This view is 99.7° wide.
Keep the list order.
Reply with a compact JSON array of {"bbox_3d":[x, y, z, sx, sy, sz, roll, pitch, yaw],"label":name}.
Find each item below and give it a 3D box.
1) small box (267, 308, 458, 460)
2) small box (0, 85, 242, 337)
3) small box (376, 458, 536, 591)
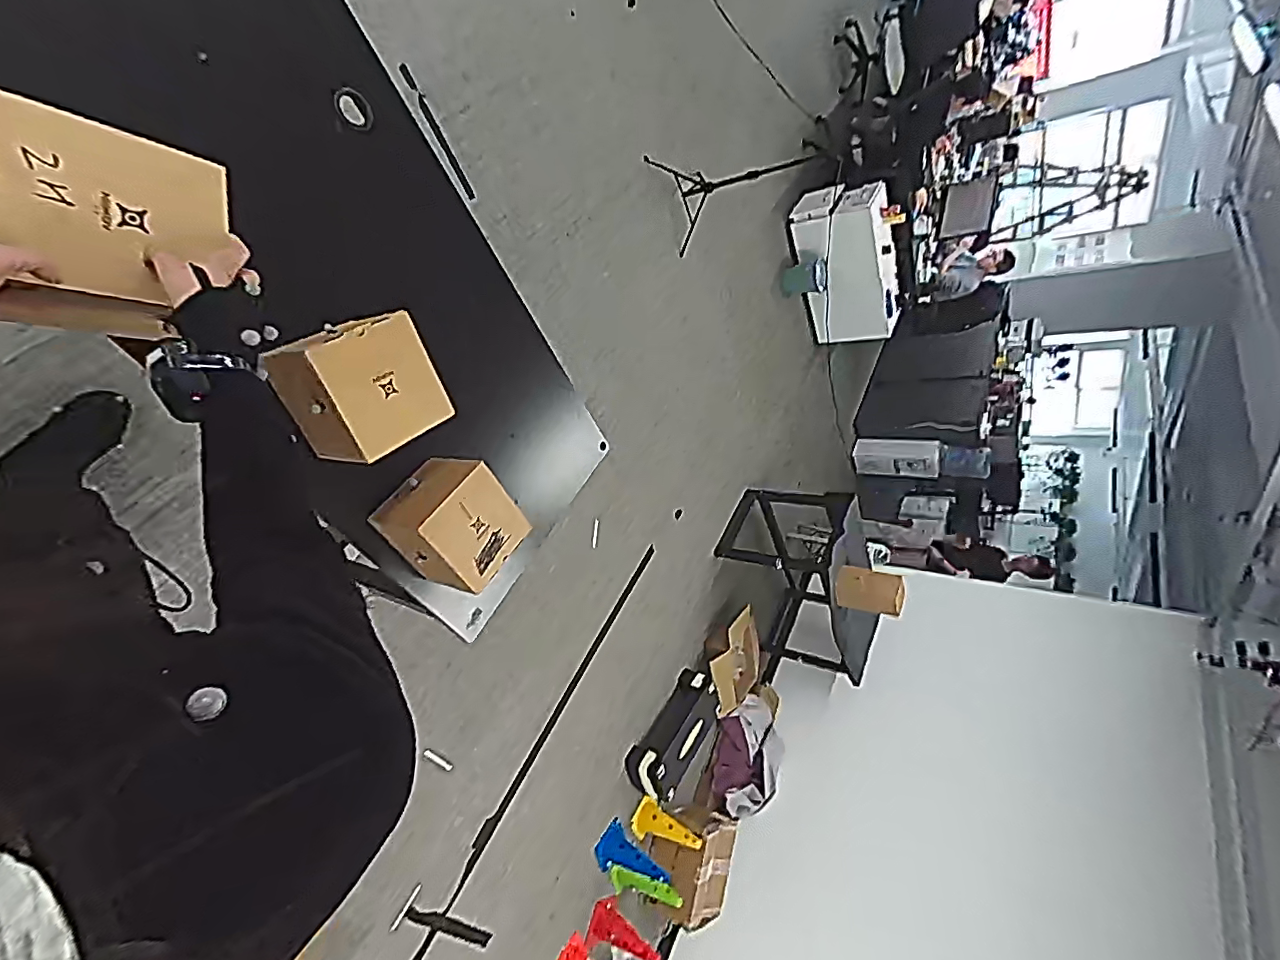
[{"bbox_3d":[-0.426,-0.148,0.839,0.168,0.176,0.179,-45,127,-40],"label":"small box"},{"bbox_3d":[-0.554,-0.256,0.571,0.179,0.176,0.168,-4,91,-51],"label":"small box"},{"bbox_3d":[-0.332,0.072,0.984,0.168,0.176,0.179,-56,133,-33],"label":"small box"}]
